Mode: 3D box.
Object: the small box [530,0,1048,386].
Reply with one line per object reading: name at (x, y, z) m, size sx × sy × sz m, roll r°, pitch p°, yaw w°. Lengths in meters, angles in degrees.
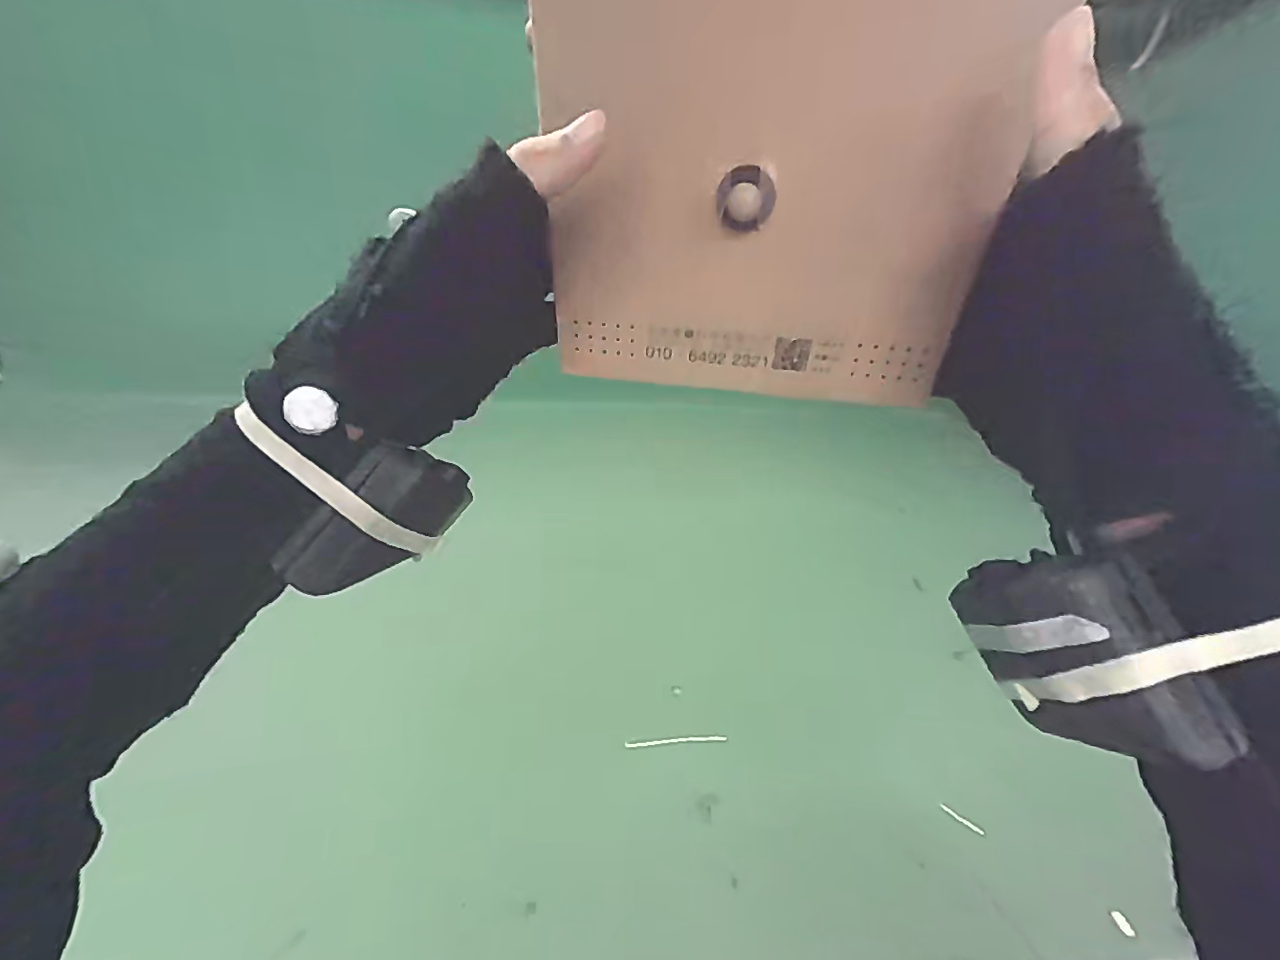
small box at (0.059, -0.159, 0.261) m, size 0.168 × 0.176 × 0.179 m, roll 7°, pitch 37°, yaw 7°
